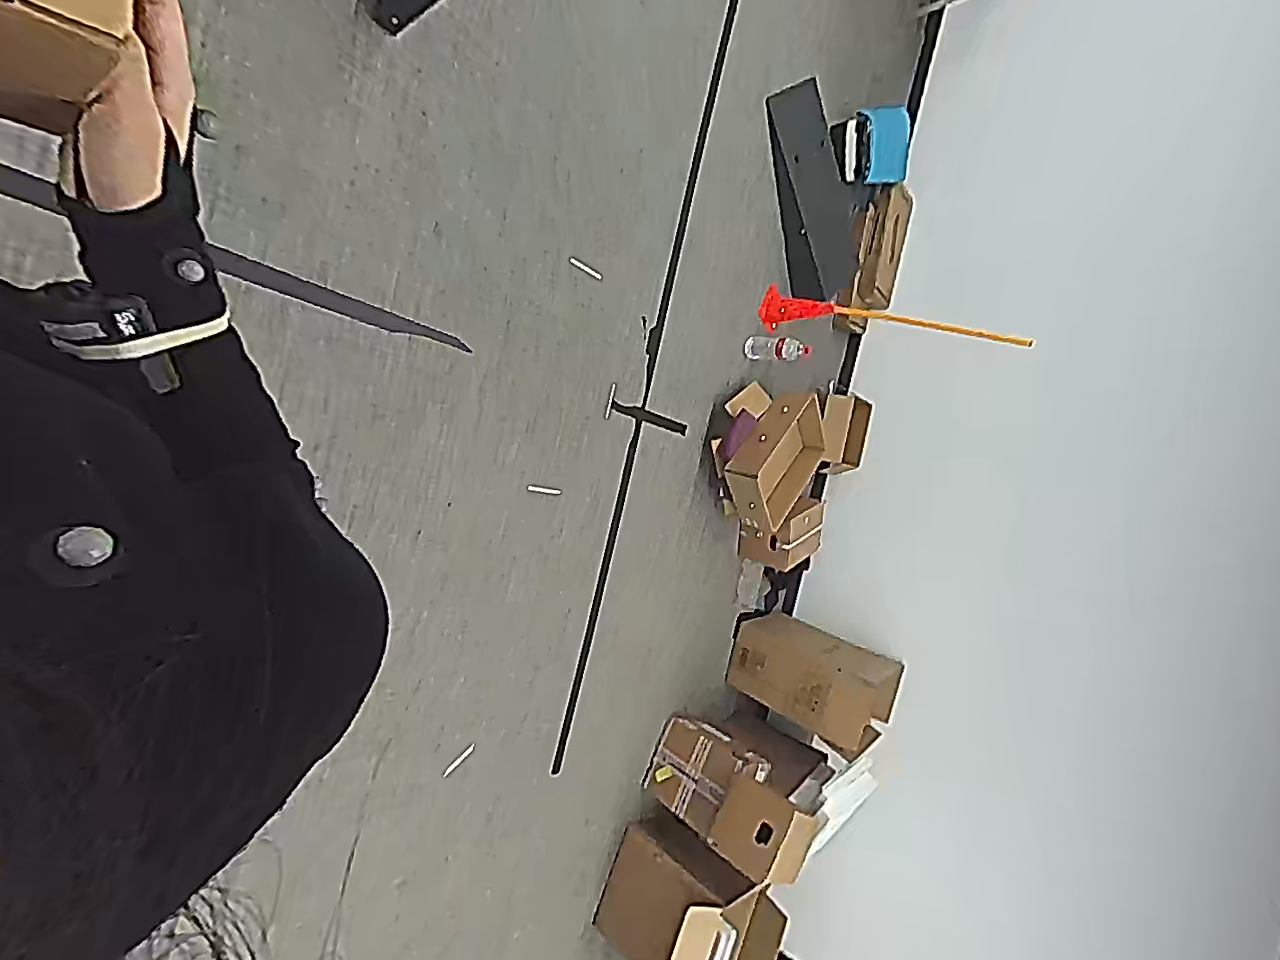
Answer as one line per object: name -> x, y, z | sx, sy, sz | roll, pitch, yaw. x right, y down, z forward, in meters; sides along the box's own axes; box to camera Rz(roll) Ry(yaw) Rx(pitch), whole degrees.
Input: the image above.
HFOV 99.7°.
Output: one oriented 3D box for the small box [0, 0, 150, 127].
small box -> -0.291, -0.255, 0.181 | 0.168, 0.176, 0.179 | -5, 105, -53
